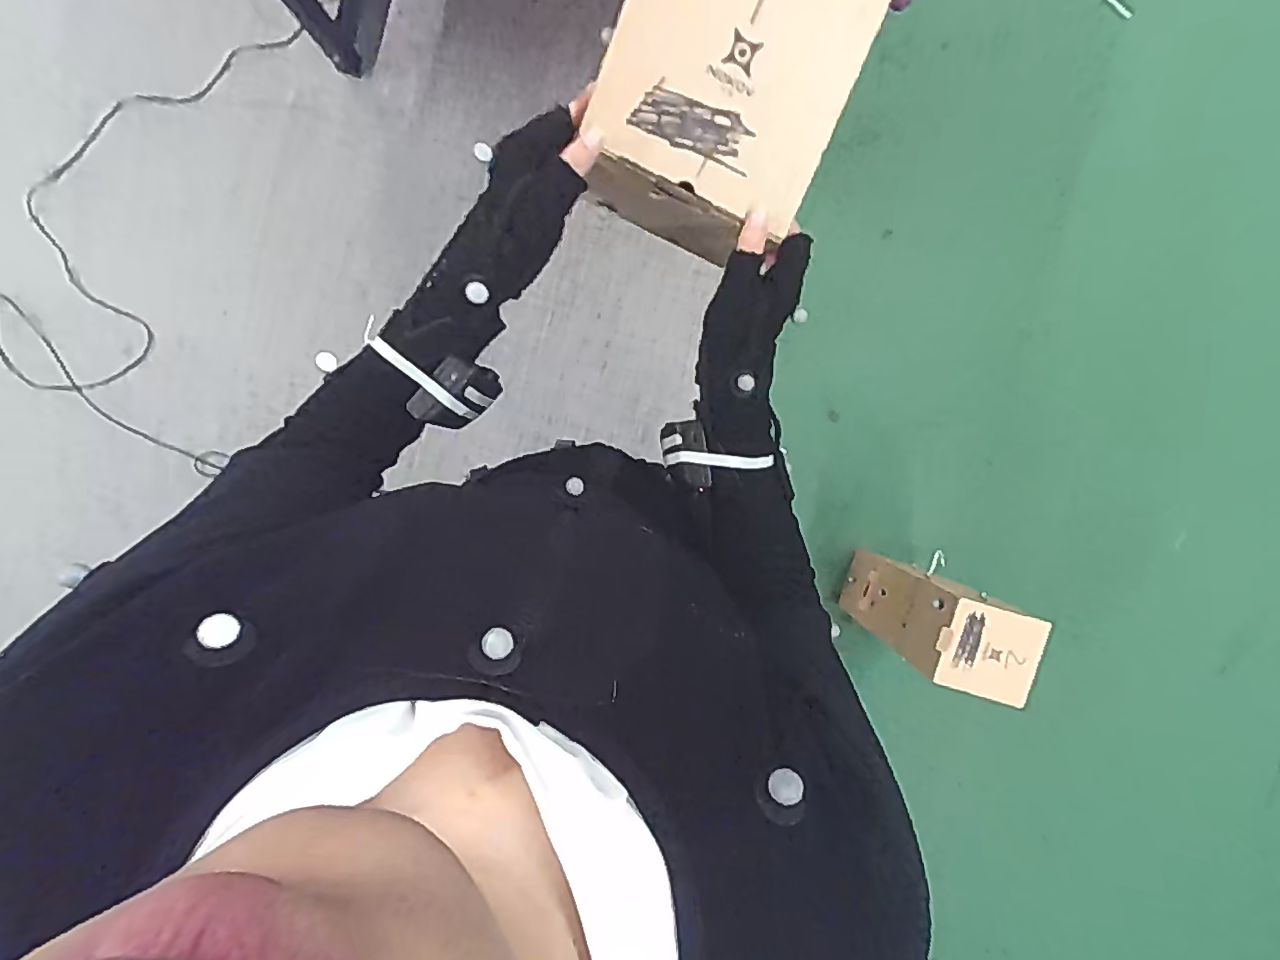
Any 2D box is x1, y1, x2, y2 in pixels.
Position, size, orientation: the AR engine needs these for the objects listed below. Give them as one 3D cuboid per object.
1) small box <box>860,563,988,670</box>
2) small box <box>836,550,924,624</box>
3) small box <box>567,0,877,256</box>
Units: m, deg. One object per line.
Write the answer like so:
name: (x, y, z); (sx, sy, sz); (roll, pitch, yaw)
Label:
small box: (0.632, 0.299, 1.226); (0.179, 0.176, 0.168); (17, 94, 1)
small box: (0.635, 0.291, 1.388); (0.179, 0.176, 0.168); (18, 93, 0)
small box: (0.048, -0.307, 0.446); (0.168, 0.176, 0.179); (20, 101, -13)
